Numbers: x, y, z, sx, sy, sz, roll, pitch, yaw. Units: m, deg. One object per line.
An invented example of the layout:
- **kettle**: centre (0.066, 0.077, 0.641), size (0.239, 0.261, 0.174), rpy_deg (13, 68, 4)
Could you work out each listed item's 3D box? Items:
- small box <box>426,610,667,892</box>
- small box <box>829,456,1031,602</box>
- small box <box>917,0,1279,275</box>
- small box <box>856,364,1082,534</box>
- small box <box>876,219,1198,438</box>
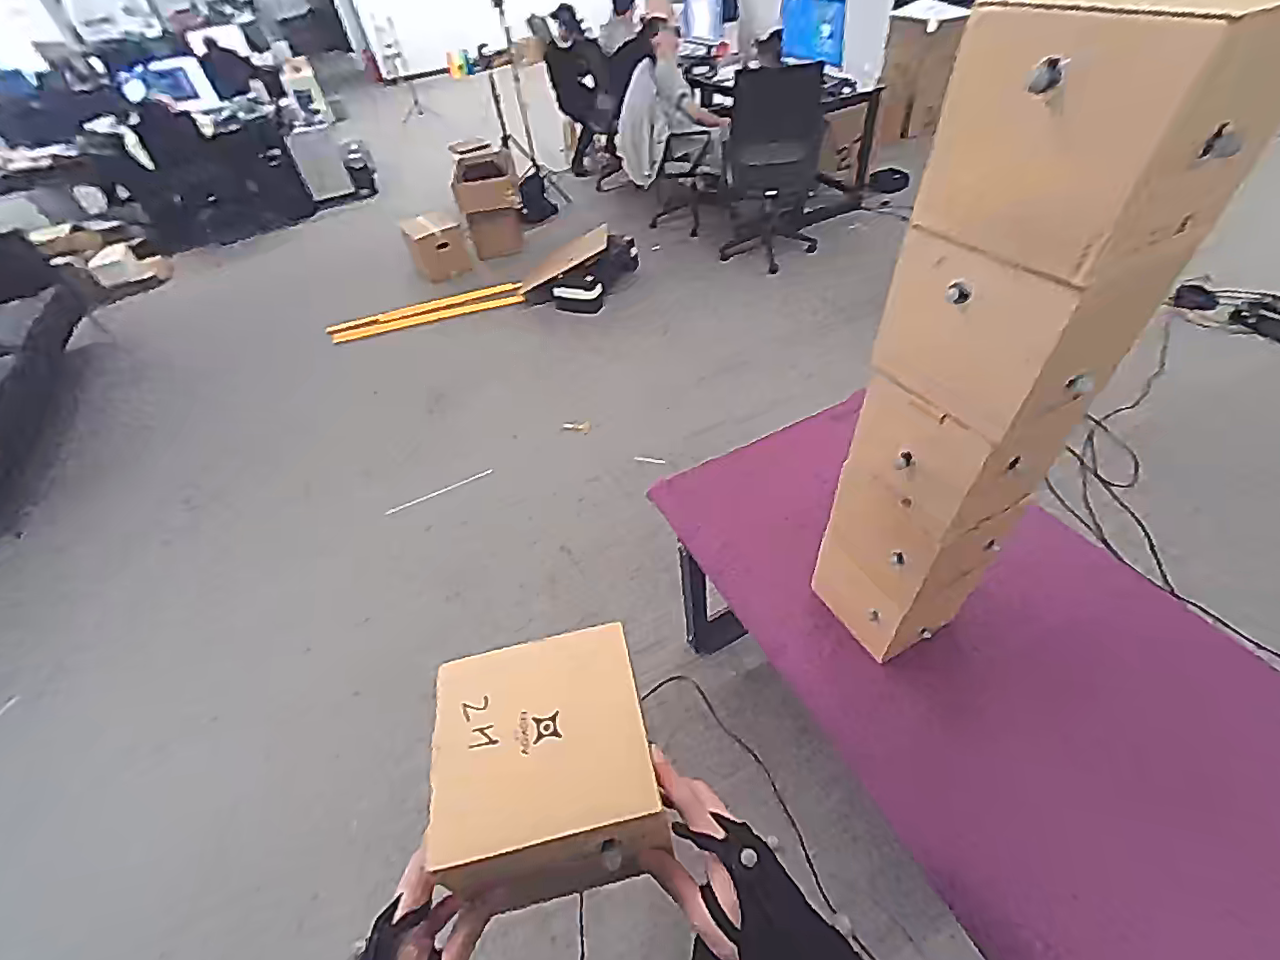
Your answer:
- **small box**: centre (-0.074, 0.250, 0.501), size (0.179, 0.176, 0.168), rpy_deg (-12, 43, -4)
- **small box**: centre (0.405, 0.053, 0.790), size (0.168, 0.176, 0.179), rpy_deg (-23, 48, -15)
- **small box**: centre (0.366, -0.284, 0.437), size (0.168, 0.176, 0.179), rpy_deg (-24, 48, -16)
- **small box**: centre (0.395, -0.062, 0.675), size (0.179, 0.176, 0.168), rpy_deg (-25, 49, -15)
- **small box**: centre (0.377, -0.173, 0.555), size (0.168, 0.176, 0.179), rpy_deg (-24, 49, -16)
